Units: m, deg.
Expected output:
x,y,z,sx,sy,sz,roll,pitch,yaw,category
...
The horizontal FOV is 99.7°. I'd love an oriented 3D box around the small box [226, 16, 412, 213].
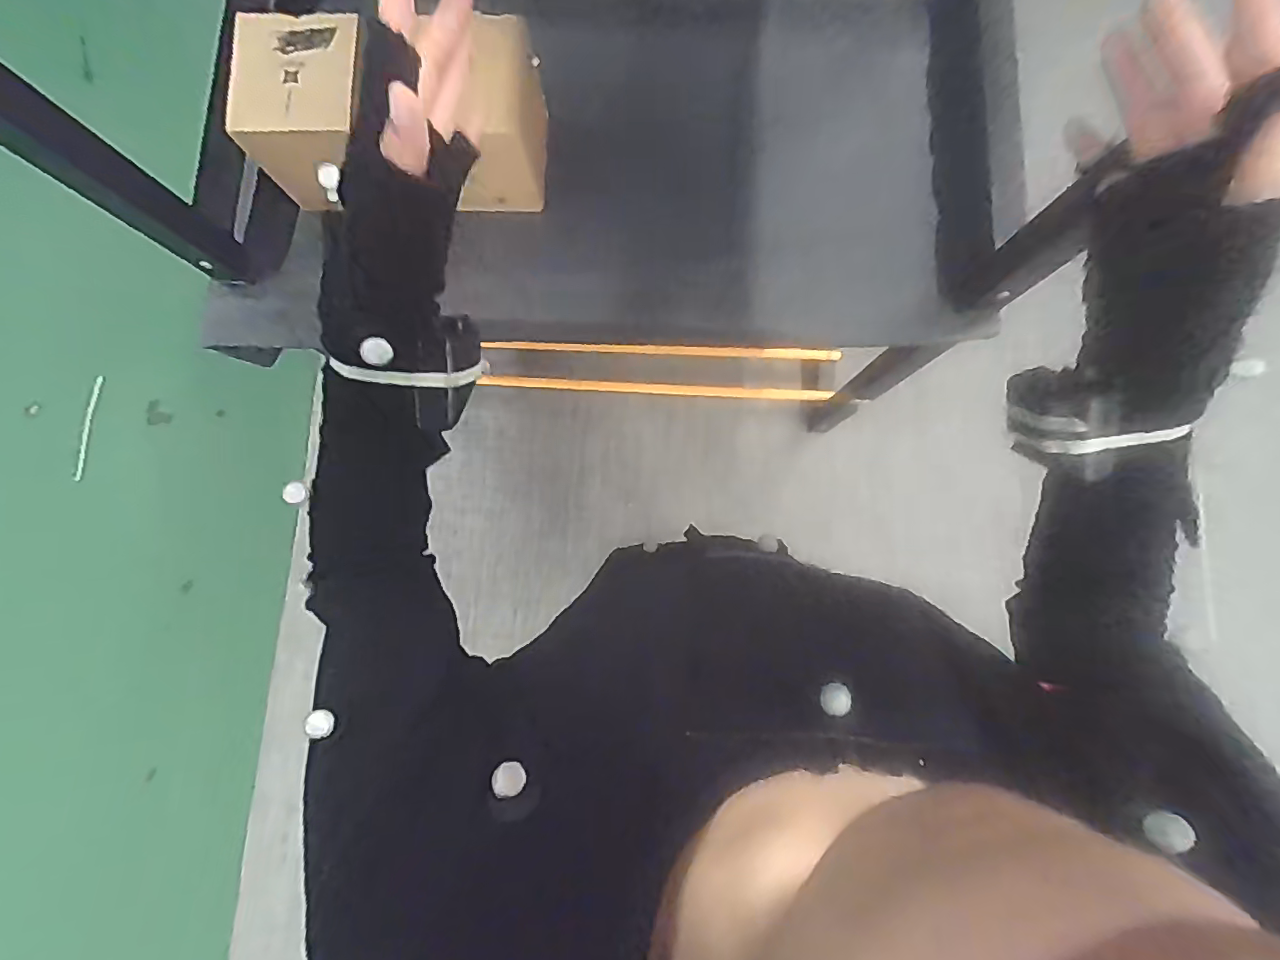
x,y,z,sx,sy,sz,roll,pitch,yaw,category
-0.451,-0.522,0.788,0.168,0.176,0.179,0,82,2,small box
